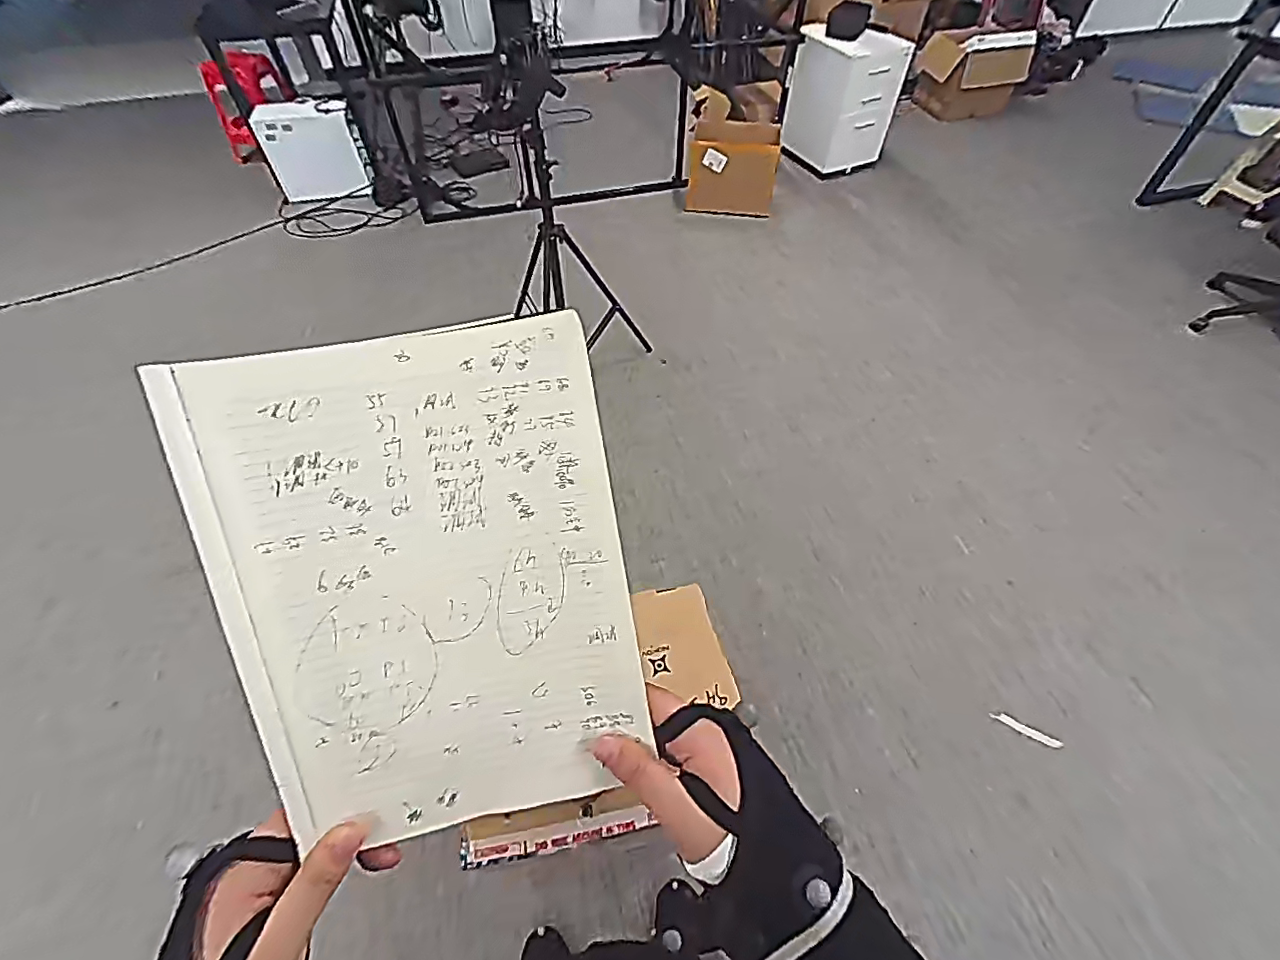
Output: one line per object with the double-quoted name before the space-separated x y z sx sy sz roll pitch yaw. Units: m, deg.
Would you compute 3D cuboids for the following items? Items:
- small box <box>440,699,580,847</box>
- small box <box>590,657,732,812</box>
"small box" -0.186 0.448 0.823 0.179 0.176 0.168 -8 55 -4
"small box" 0.024 0.405 0.857 0.179 0.176 0.168 -13 55 -11
